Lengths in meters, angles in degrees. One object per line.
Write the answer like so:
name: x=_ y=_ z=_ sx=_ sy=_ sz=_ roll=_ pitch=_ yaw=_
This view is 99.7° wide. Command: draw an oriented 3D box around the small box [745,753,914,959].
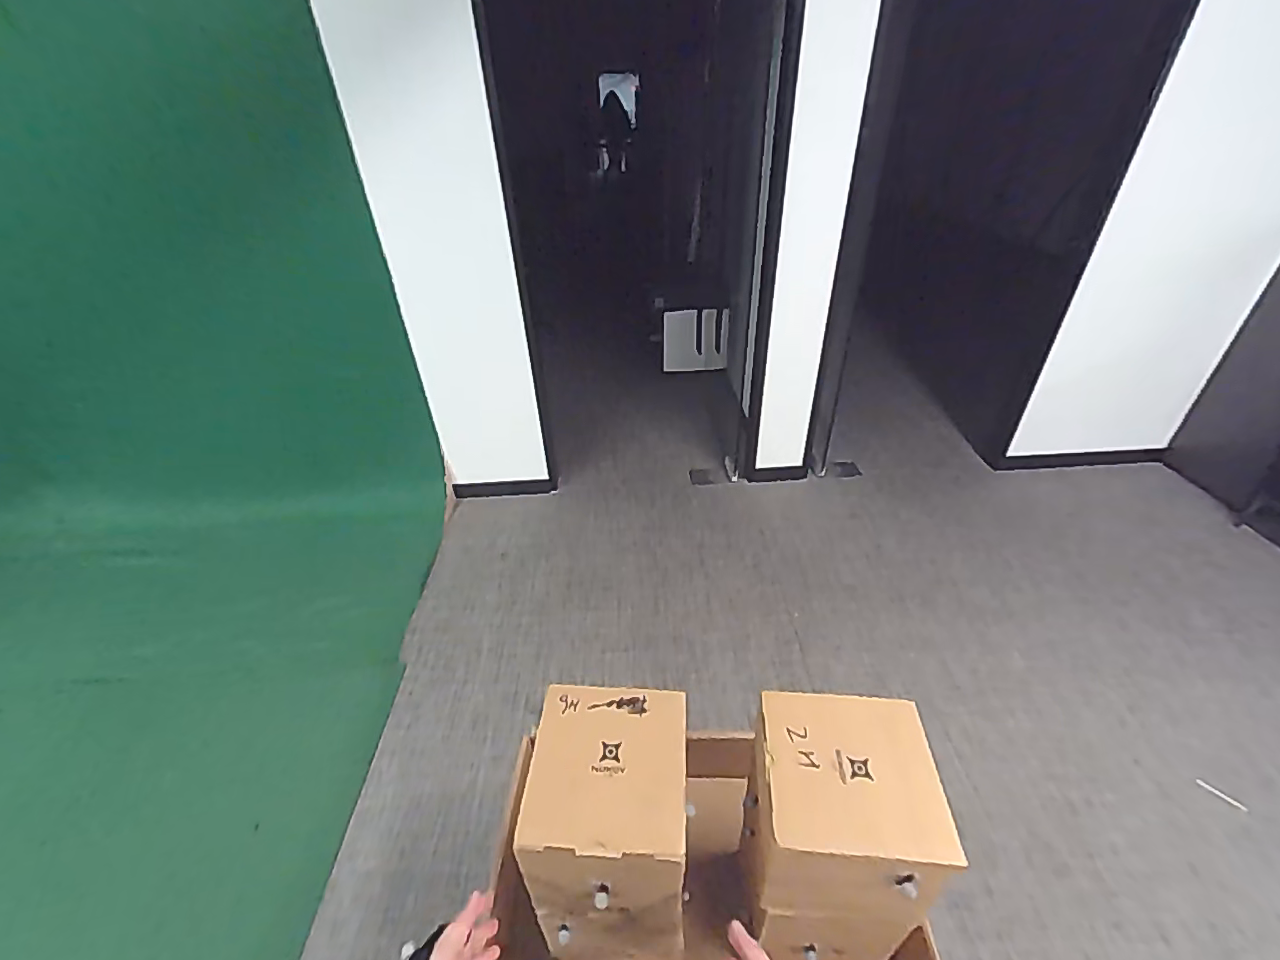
small box: x=0.230 y=0.491 z=0.711 sx=0.168 sy=0.176 sz=0.179 roll=0 pitch=37 yaw=6
